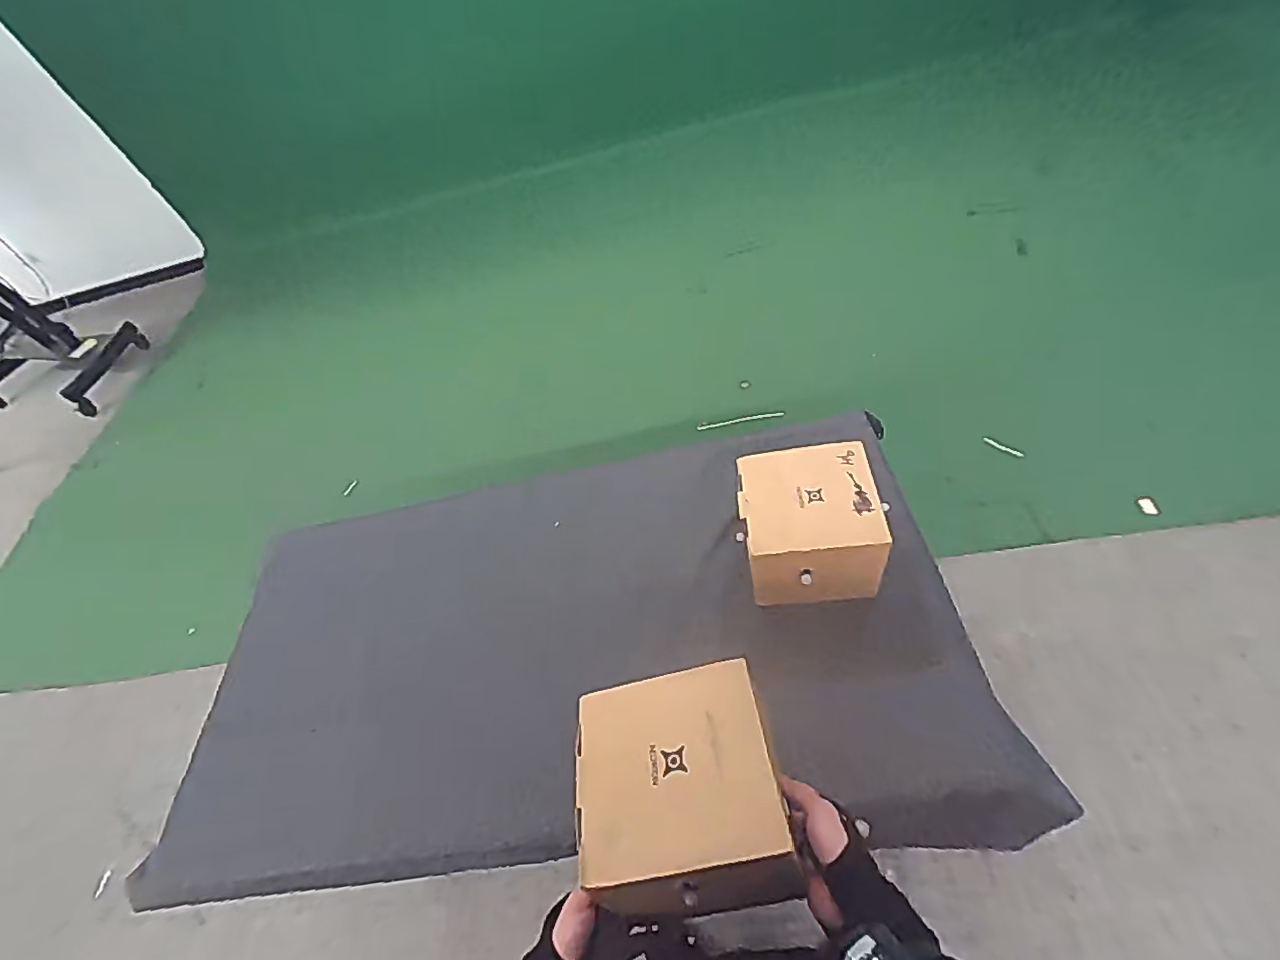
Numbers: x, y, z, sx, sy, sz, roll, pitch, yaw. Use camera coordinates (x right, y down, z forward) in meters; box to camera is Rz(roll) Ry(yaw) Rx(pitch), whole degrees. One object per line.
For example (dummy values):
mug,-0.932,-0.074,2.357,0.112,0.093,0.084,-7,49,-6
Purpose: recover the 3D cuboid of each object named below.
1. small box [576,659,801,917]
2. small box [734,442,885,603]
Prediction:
small box,0.047,0.308,0.536,0.179,0.176,0.168,-15,42,6
small box,0.240,0.070,0.789,0.179,0.176,0.168,-8,54,11
